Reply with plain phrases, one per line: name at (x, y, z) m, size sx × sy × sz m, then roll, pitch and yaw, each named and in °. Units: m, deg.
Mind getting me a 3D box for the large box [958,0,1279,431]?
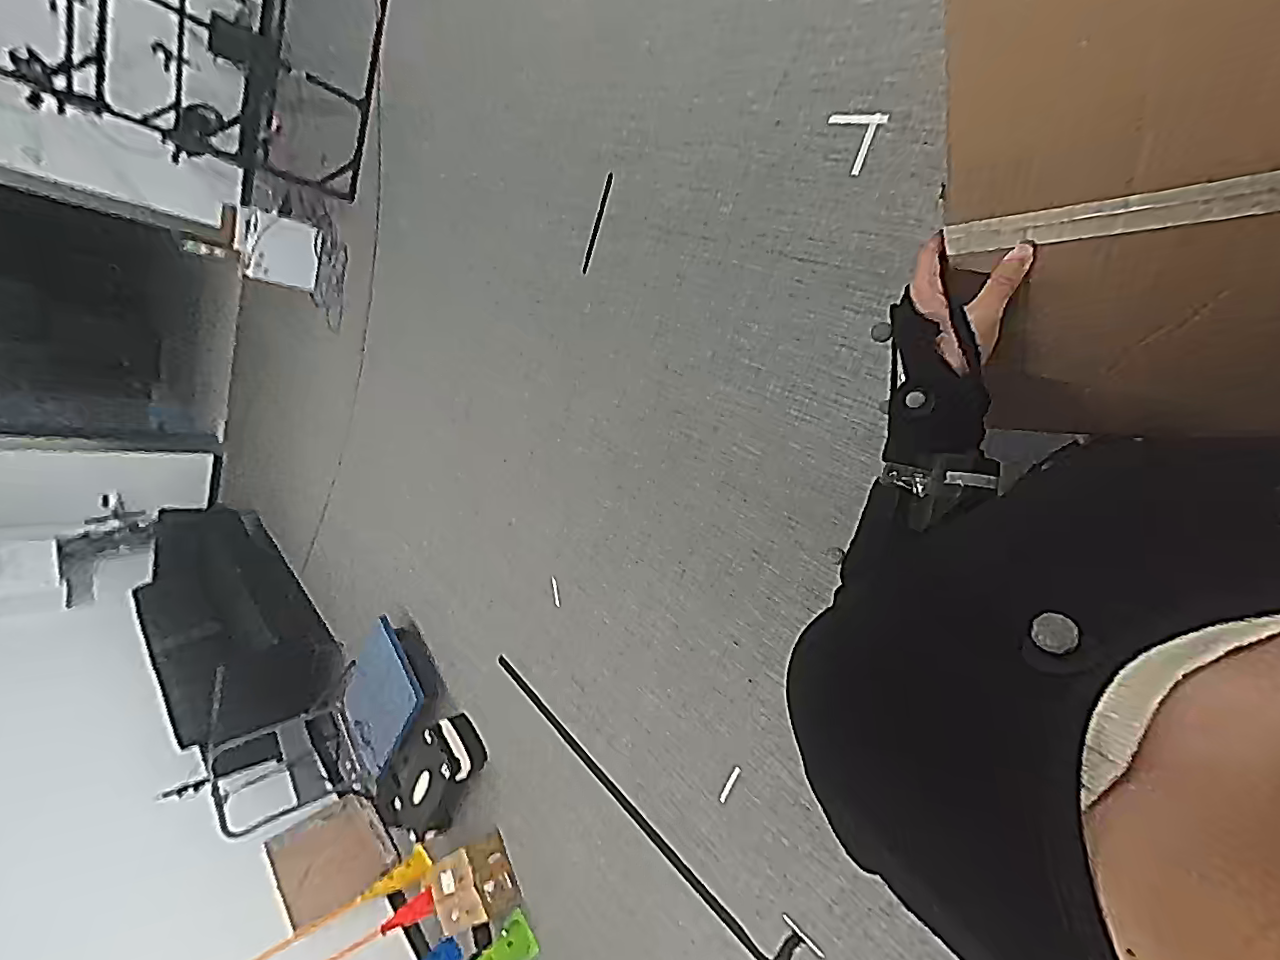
large box at (0.476, -0.235, 0.356) m, size 0.408 × 0.320 × 0.320 m, roll 10°, pitch 129°, yaw 42°
